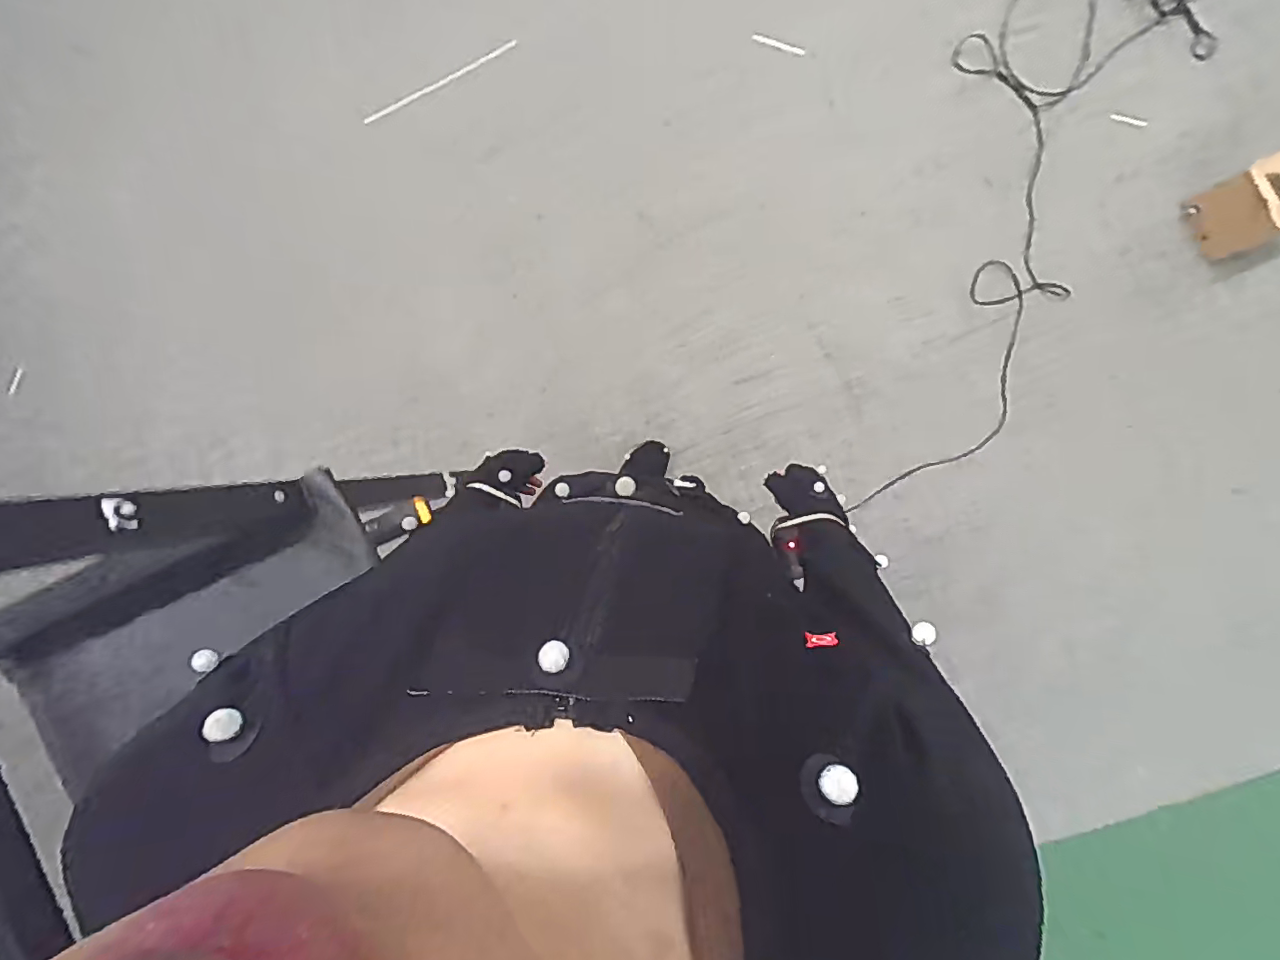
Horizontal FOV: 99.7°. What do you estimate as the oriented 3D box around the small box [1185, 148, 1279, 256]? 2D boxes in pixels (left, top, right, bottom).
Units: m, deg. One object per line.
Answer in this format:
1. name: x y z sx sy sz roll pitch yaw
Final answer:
1. small box: 1.433 -0.650 1.250 0.179 0.176 0.168 -26 91 5
